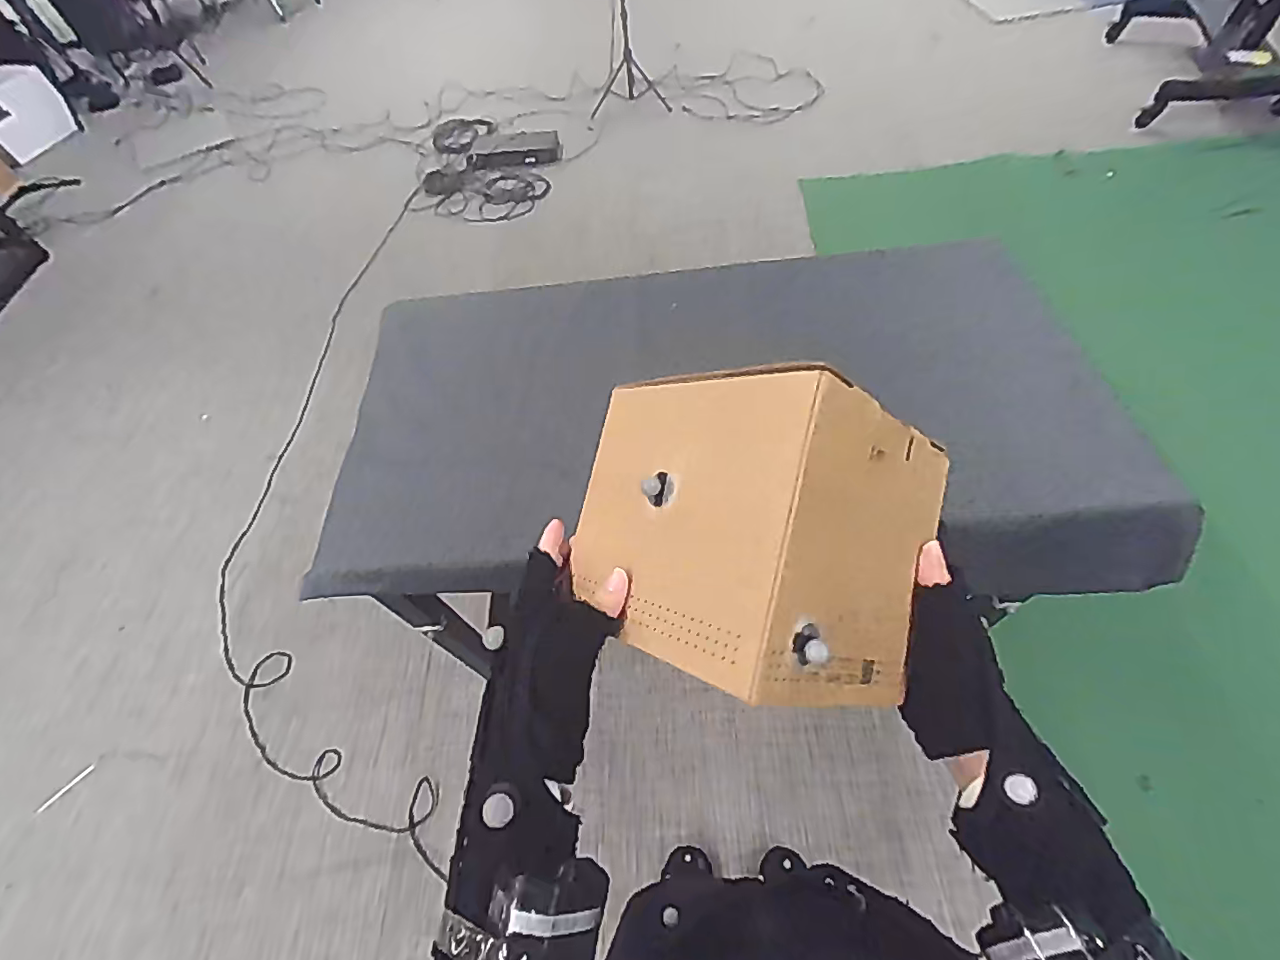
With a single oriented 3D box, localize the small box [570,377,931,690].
[{"bbox_3d":[0.076,0.041,0.390,0.179,0.168,0.176,4,77,50],"label":"small box"}]
